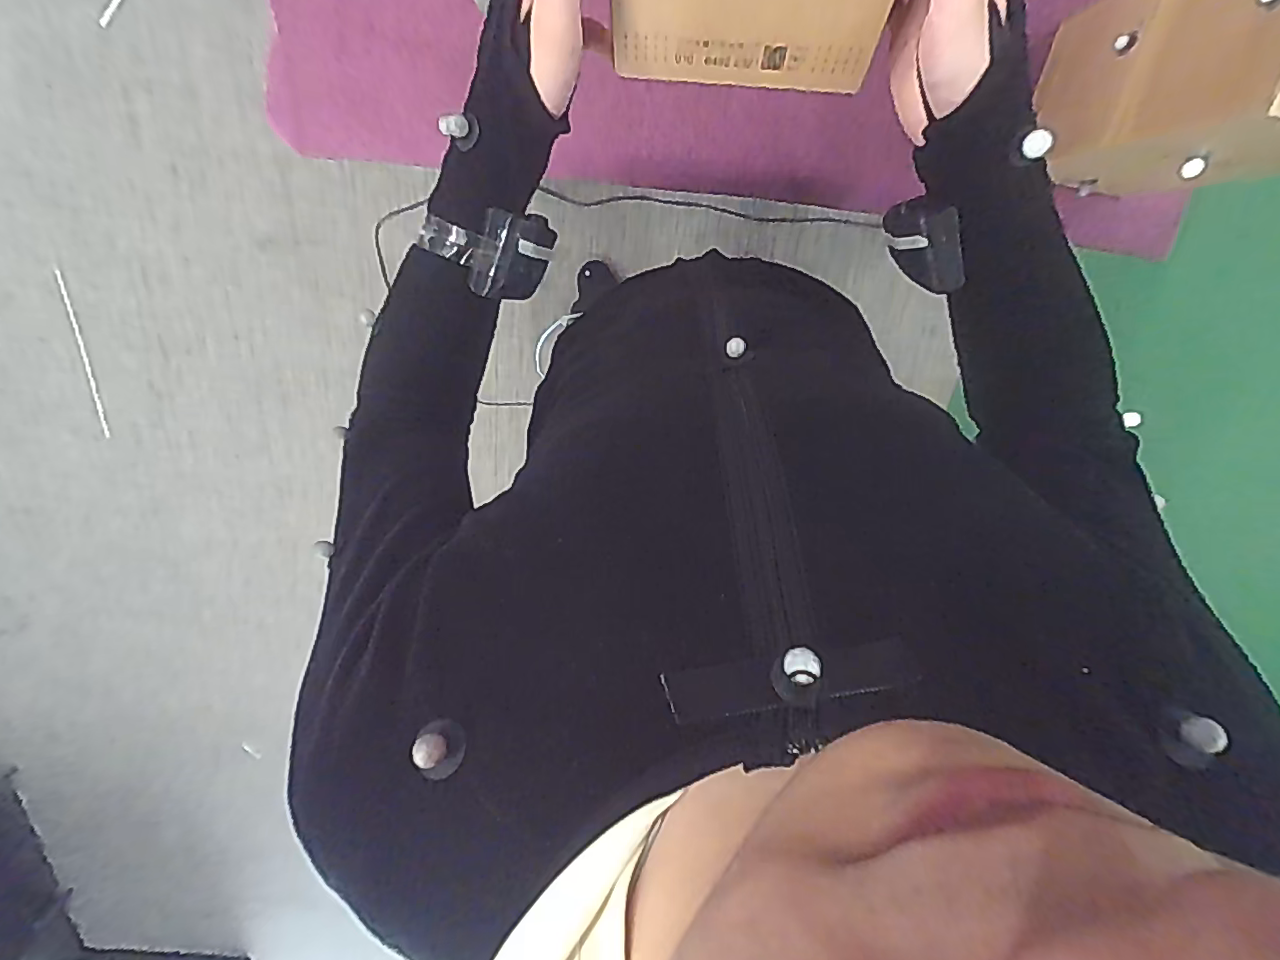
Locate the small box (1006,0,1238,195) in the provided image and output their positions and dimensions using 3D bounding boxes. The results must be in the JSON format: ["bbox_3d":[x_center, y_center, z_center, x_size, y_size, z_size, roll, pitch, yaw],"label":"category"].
[{"bbox_3d":[0.586,-0.443,0.630,0.179,0.176,0.168,9,111,-3],"label":"small box"}]
